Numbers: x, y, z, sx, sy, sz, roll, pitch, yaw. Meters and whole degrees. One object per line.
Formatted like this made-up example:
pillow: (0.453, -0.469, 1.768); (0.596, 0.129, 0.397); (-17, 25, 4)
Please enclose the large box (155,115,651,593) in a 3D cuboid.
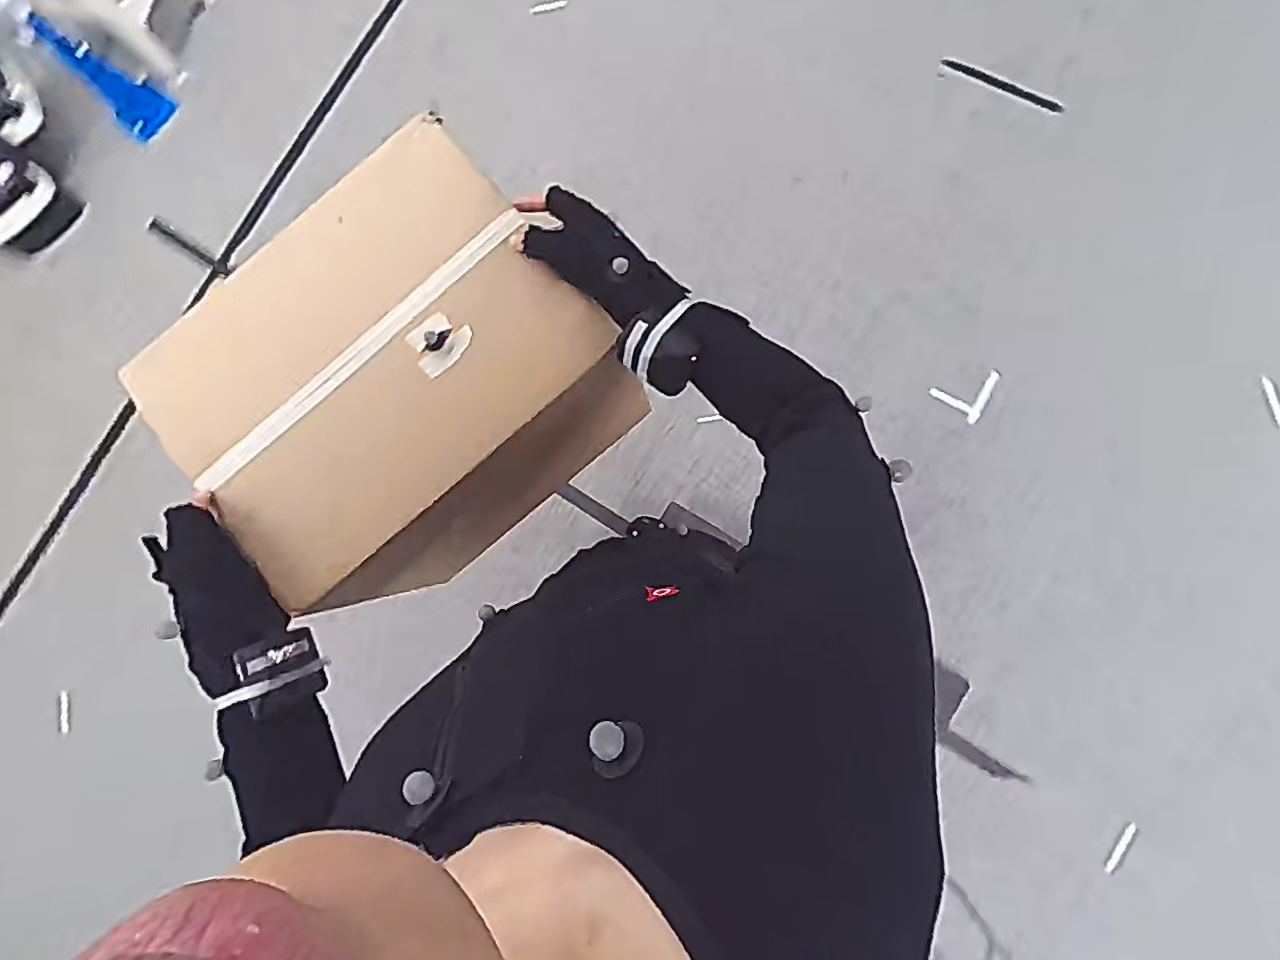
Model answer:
large box: (-0.240, -0.115, 0.677); (0.408, 0.320, 0.320); (-40, 83, 0)
